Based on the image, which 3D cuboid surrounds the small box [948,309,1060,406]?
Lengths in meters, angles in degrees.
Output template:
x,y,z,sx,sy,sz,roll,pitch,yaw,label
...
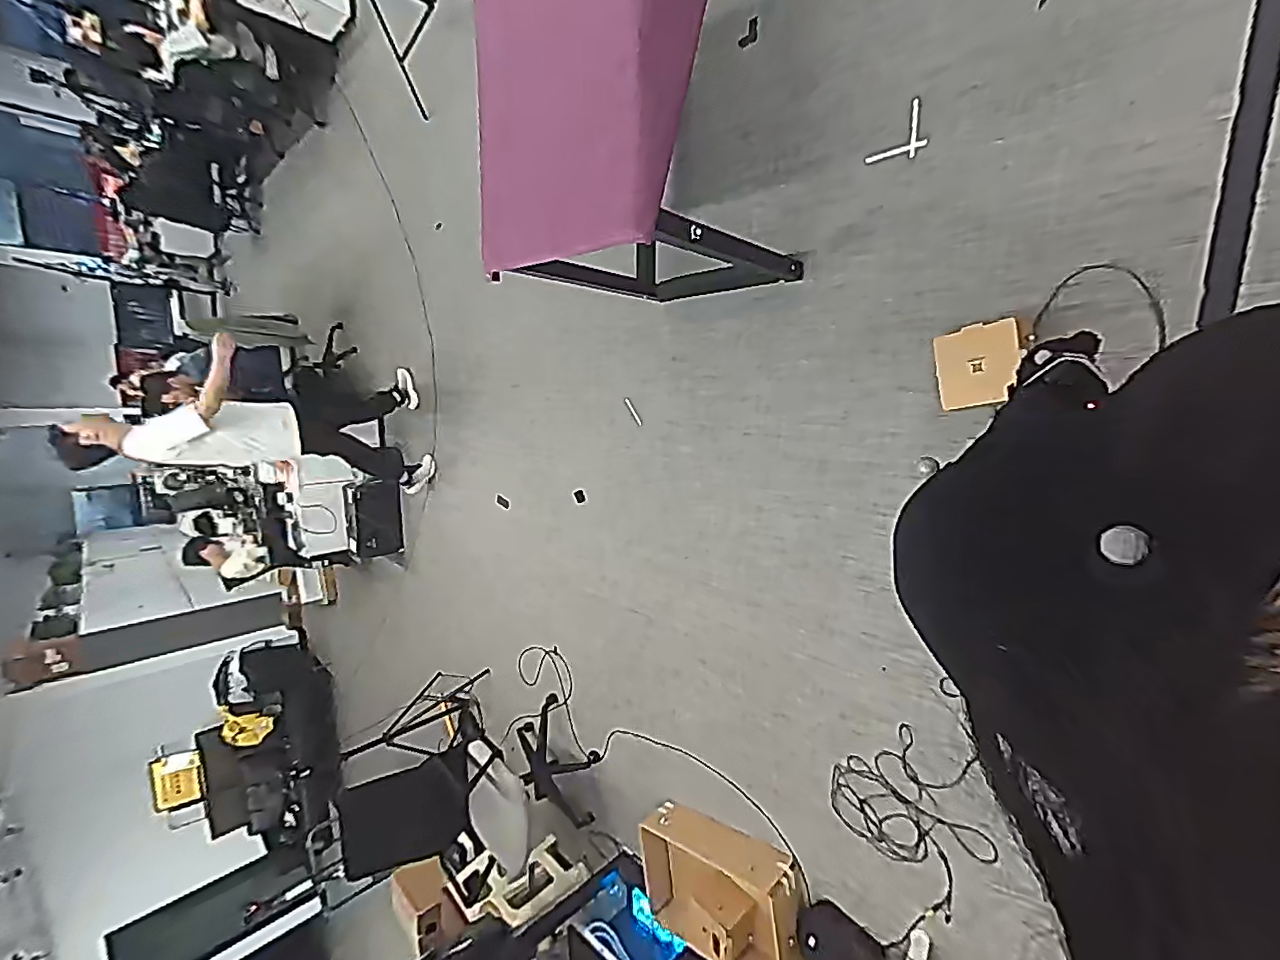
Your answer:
x,y,z,sx,sy,sz,roll,pitch,yaw,label
0.828,-0.270,1.229,0.168,0.176,0.179,-9,90,49,small box
